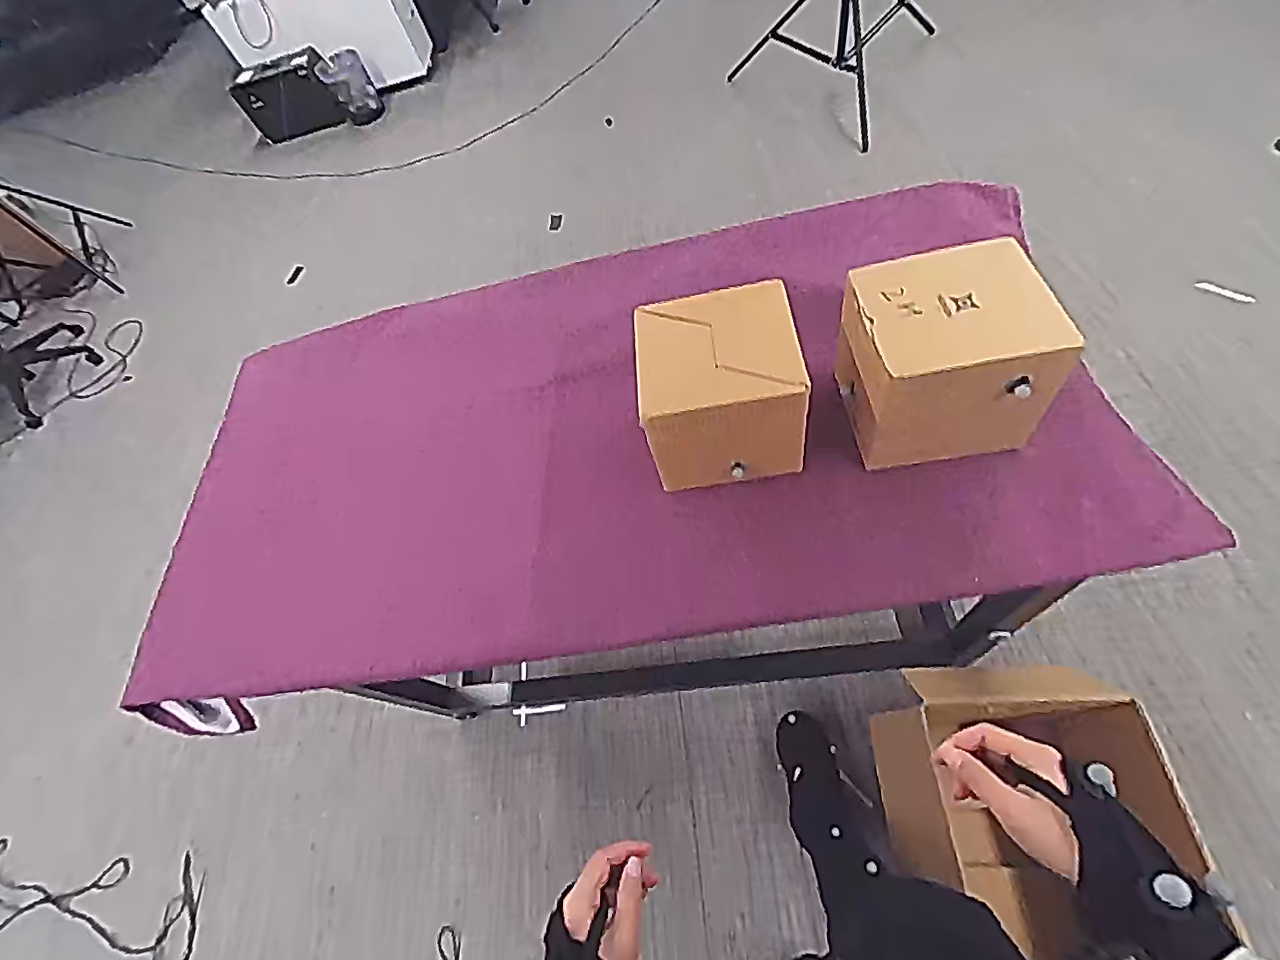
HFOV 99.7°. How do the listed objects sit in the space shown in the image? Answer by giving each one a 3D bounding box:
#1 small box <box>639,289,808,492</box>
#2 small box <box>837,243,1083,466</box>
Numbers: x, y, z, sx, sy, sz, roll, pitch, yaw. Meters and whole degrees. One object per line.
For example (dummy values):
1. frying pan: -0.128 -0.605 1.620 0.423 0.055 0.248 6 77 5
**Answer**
1. small box: 0.099 -0.107 0.663 0.179 0.176 0.168 -9 57 10
2. small box: 0.339 -0.134 0.619 0.179 0.176 0.168 -8 56 9
